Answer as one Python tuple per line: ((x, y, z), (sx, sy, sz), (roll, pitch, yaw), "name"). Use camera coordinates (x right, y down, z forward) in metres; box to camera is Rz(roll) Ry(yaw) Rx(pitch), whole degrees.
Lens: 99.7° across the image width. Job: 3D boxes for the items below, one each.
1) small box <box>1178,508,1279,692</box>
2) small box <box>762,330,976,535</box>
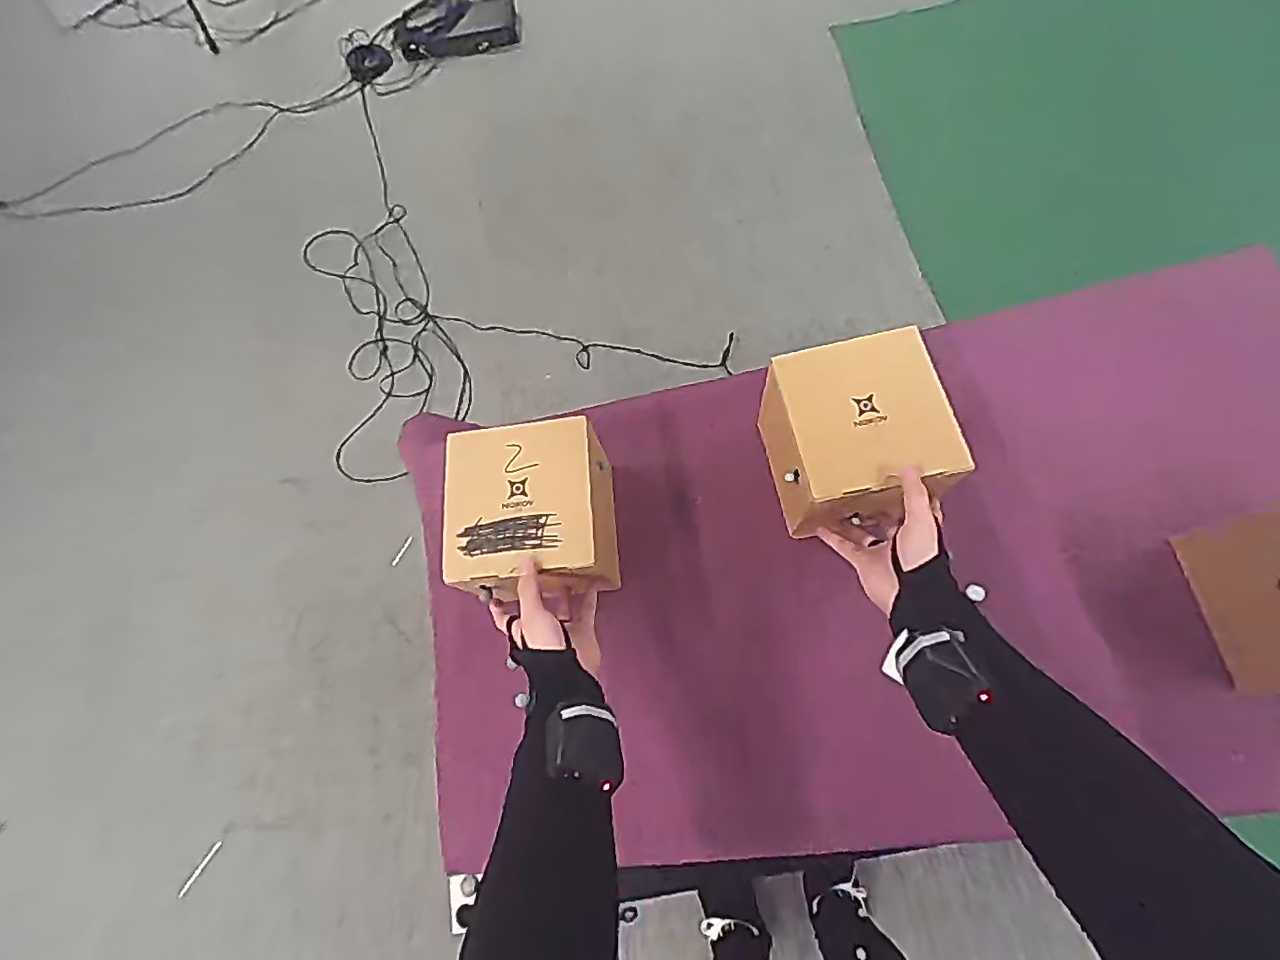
((0.705, 0.111, 0.531), (0.168, 0.176, 0.179), (-7, 70, 6), "small box")
((0.253, -0.047, 0.649), (0.168, 0.176, 0.179), (-12, 72, 3), "small box")
